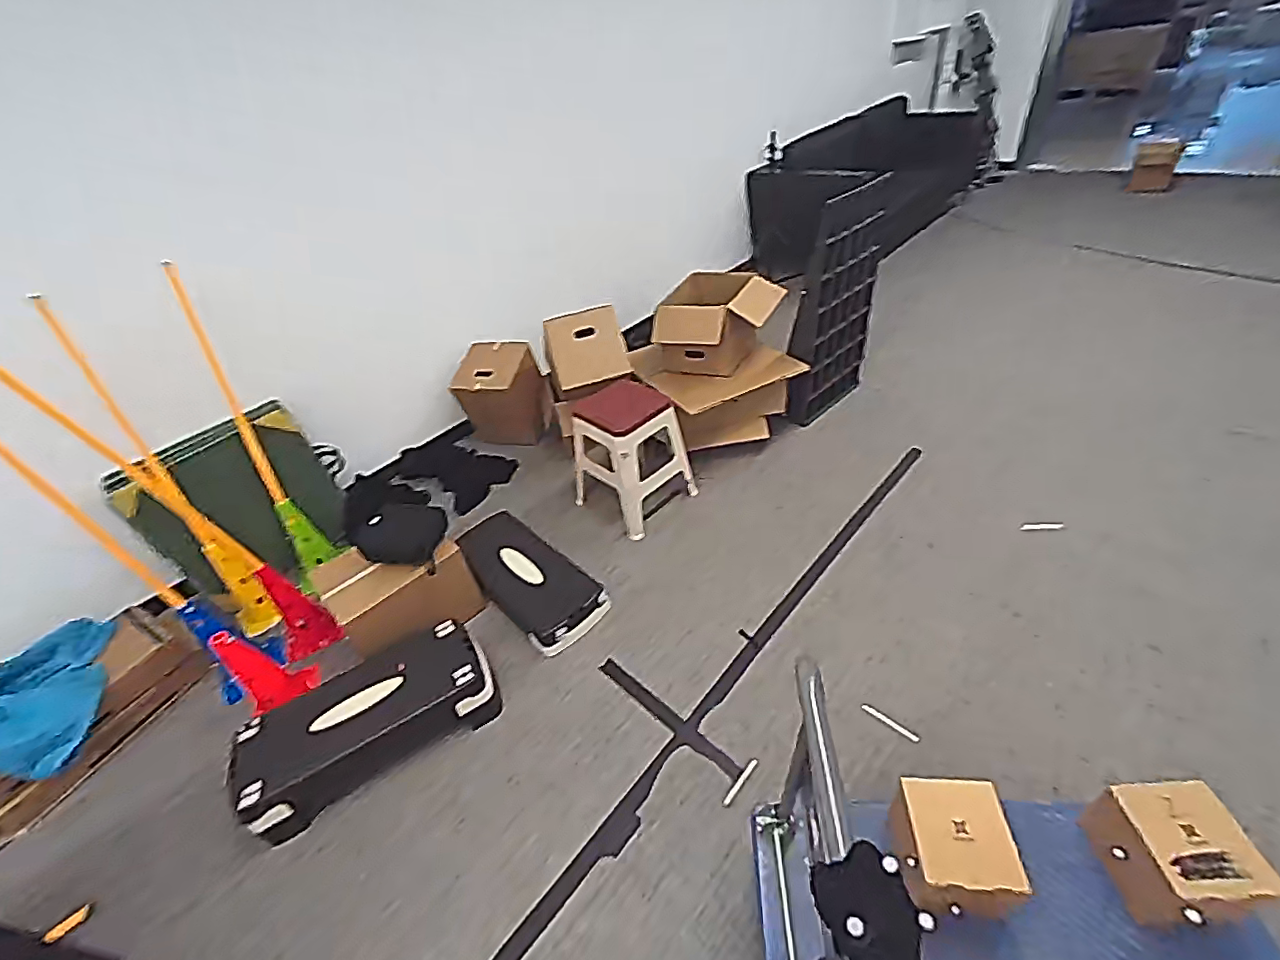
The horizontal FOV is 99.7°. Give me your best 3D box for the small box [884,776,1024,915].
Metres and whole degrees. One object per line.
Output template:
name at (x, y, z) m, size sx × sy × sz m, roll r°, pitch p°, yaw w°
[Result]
small box at (0.581, 0.695, 1.031) m, size 0.168 × 0.176 × 0.179 m, roll -1°, pitch 41°, yaw 8°
